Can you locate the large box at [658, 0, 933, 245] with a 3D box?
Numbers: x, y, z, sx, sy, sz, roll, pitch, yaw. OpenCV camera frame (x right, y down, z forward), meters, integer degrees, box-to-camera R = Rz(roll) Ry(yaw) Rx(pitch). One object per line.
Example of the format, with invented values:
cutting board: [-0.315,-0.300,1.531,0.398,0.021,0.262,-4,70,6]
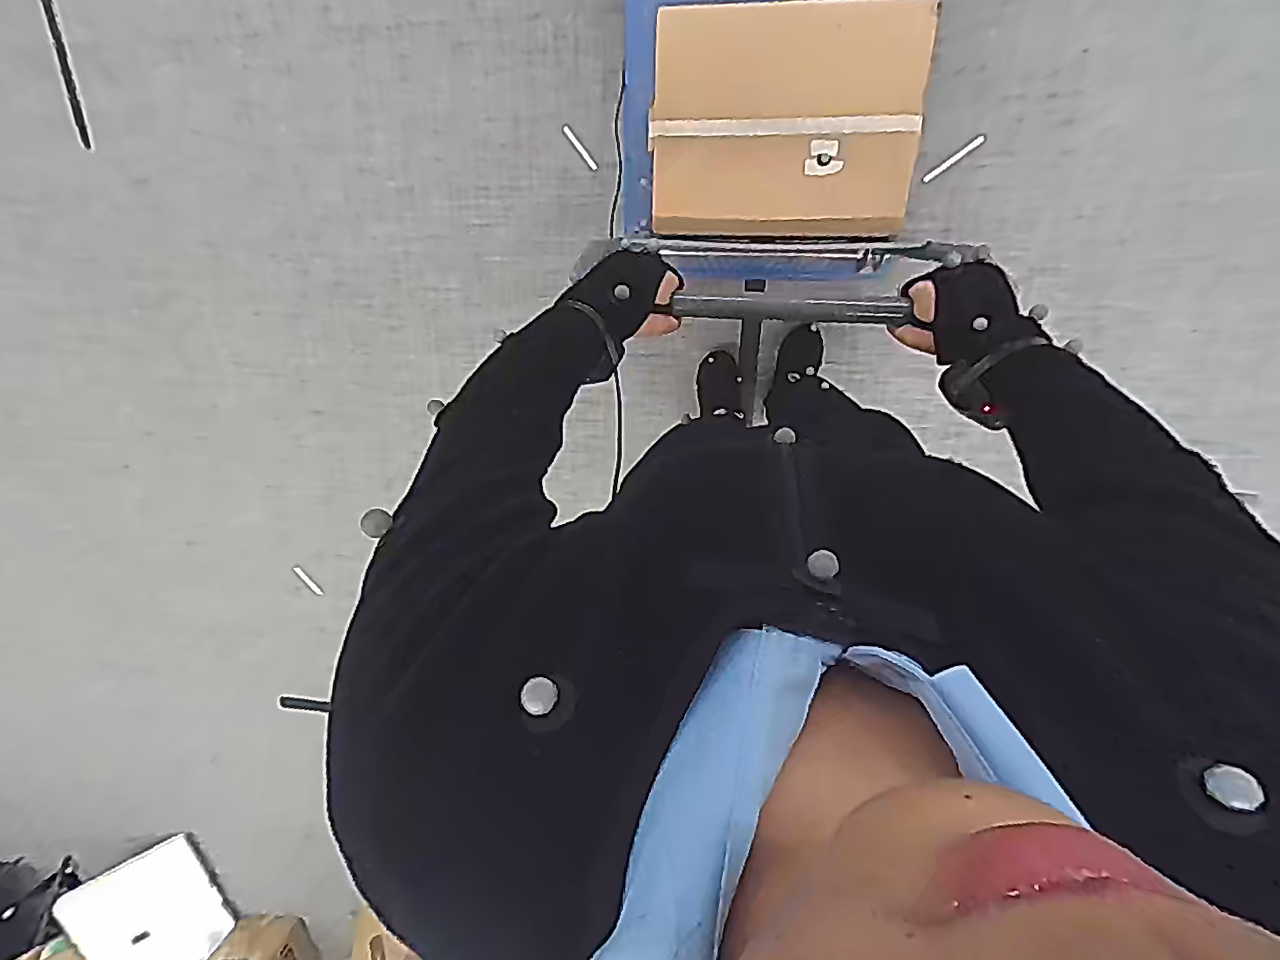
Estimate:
large box: [0.244,-0.610,0.990,0.408,0.320,0.320,3,112,7]
